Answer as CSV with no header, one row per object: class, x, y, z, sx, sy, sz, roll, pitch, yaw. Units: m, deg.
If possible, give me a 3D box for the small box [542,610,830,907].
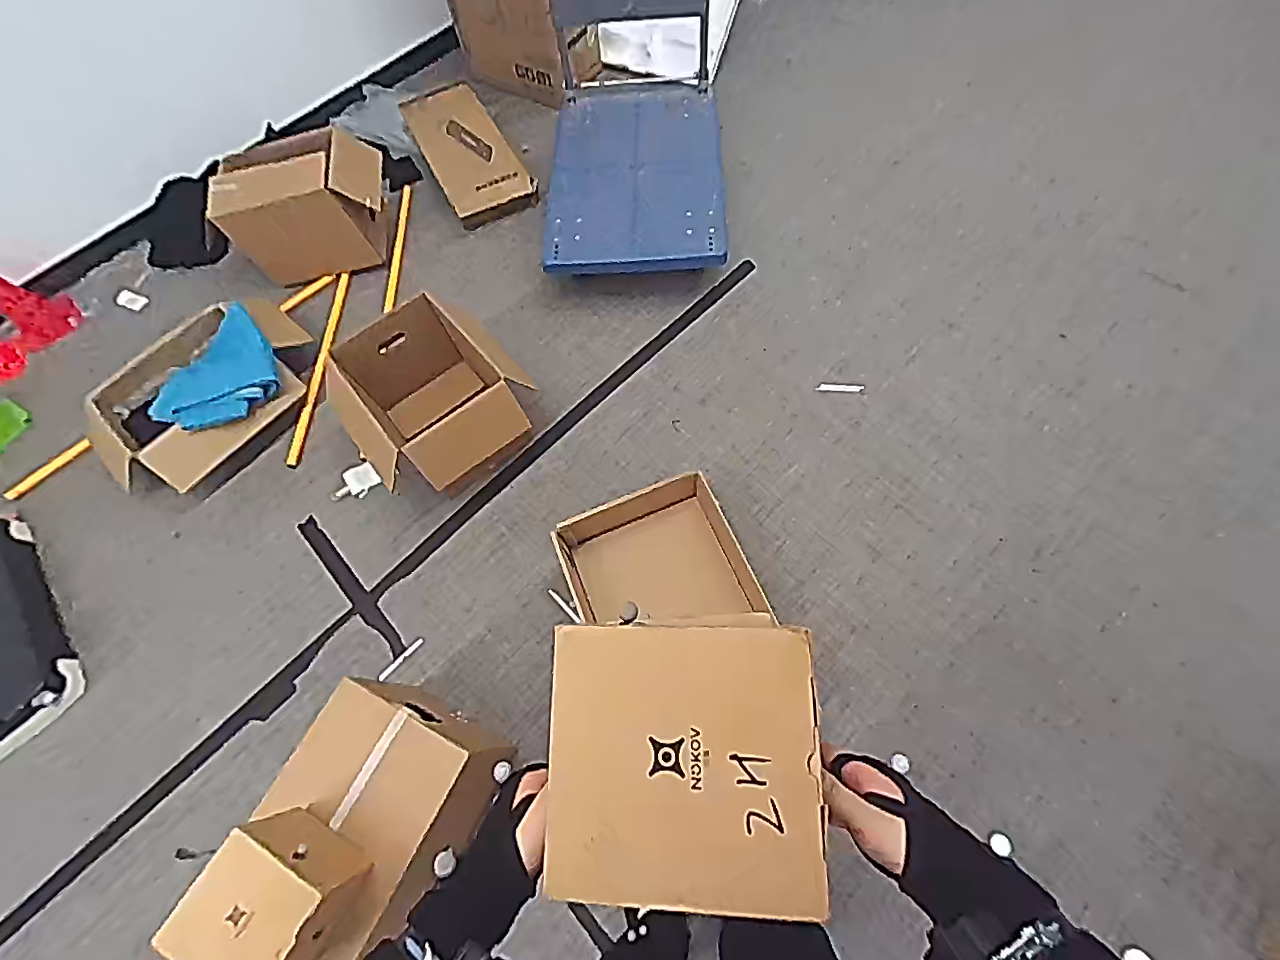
small box,0.038,0.191,0.420,0.179,0.176,0.168,-1,74,7
